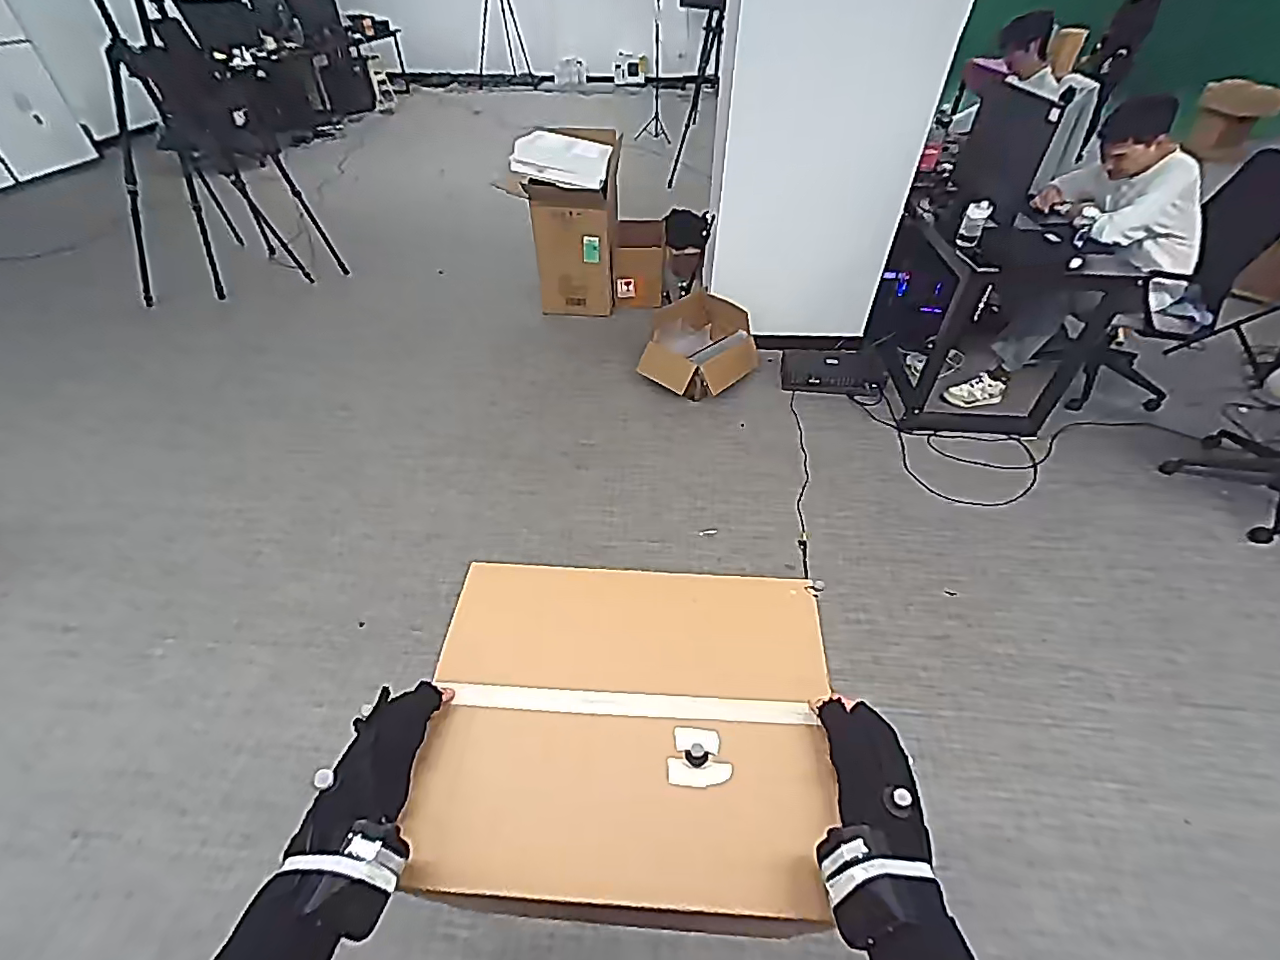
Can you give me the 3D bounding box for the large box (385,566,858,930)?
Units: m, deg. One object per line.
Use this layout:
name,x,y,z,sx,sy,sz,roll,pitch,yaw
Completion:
large box,-0.013,0.325,0.654,0.408,0.320,0.320,3,48,2
